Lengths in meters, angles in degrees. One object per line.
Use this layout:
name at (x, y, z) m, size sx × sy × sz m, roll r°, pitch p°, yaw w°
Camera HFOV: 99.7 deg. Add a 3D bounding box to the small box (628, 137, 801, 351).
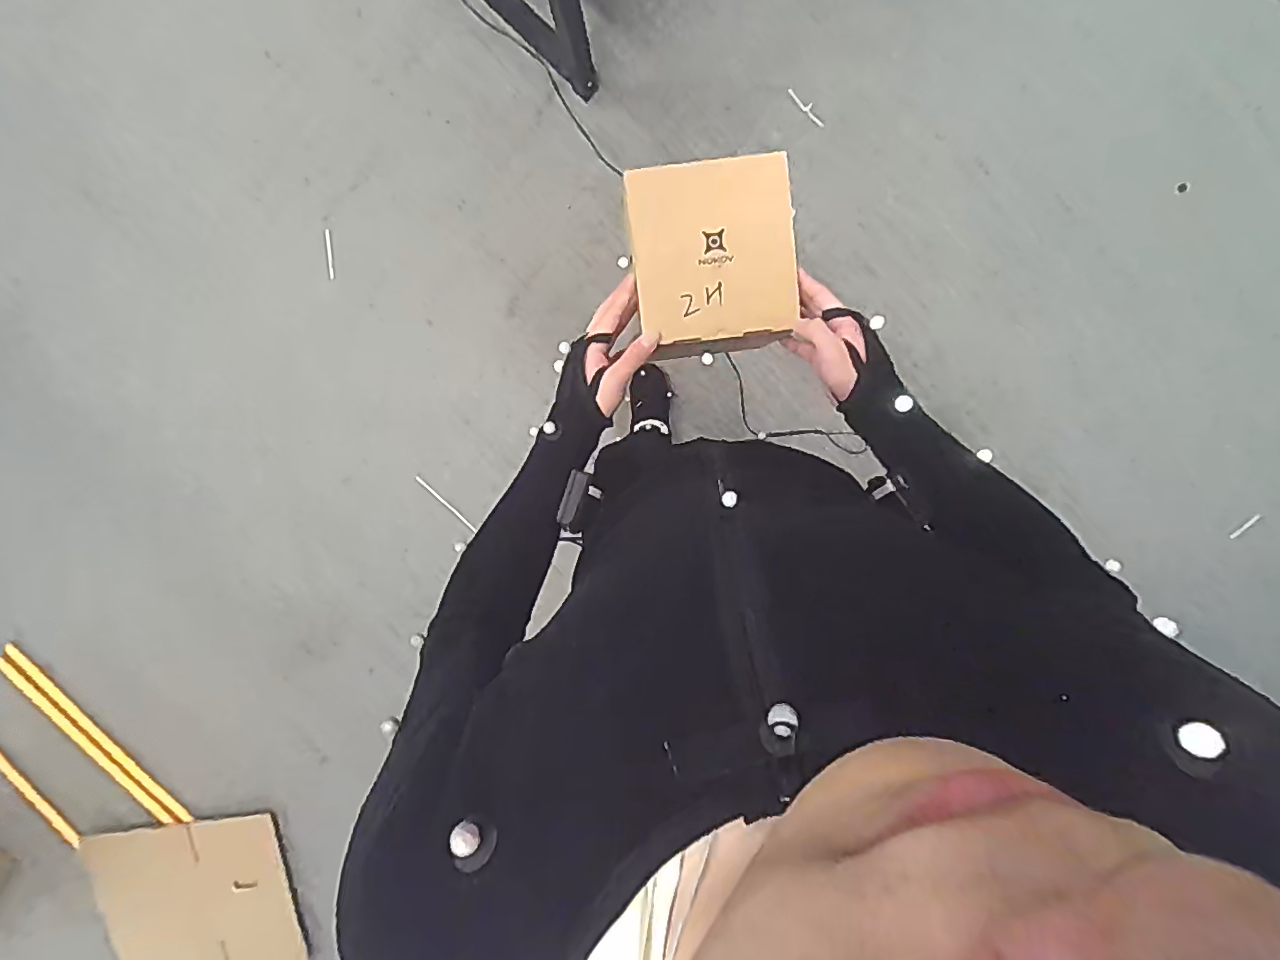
small box at (0.074, -0.253, 0.620) m, size 0.168 × 0.176 × 0.179 m, roll -6°, pitch 97°, yaw 1°
